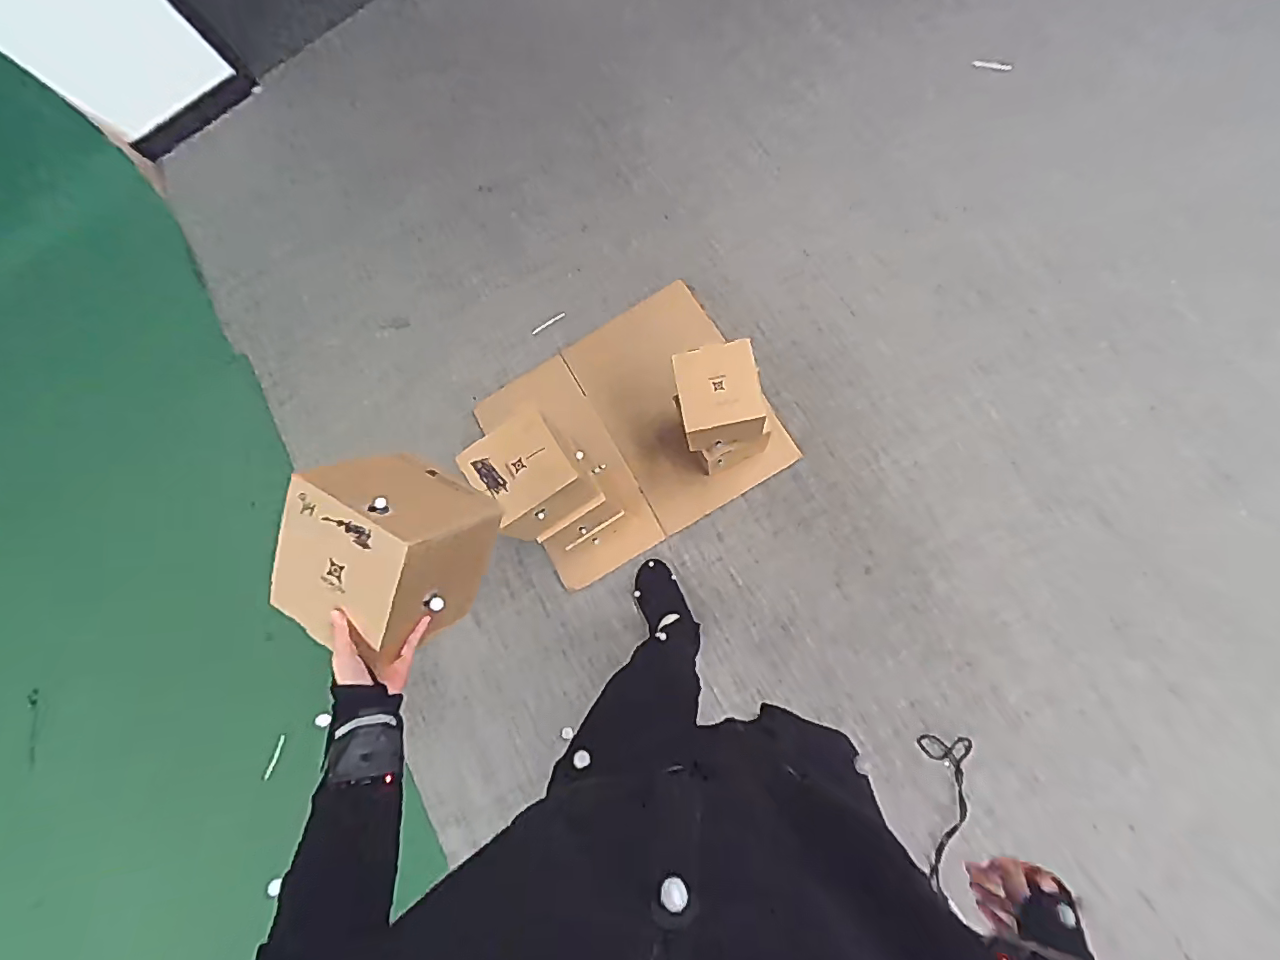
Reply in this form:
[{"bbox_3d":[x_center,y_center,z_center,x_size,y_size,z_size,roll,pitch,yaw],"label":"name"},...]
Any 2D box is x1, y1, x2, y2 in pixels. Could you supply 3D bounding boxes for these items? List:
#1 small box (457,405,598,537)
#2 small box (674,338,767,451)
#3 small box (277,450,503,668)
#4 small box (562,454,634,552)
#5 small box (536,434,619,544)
[{"bbox_3d":[-0.203,-0.007,1.023,0.179,0.176,0.168,-33,75,1],"label":"small box"},{"bbox_3d":[0.169,-0.176,1.161,0.168,0.176,0.179,-11,77,6],"label":"small box"},{"bbox_3d":[-0.293,0.081,0.655,0.168,0.176,0.179,28,109,14],"label":"small box"},{"bbox_3d":[-0.131,0.065,1.336,0.168,0.176,0.179,-33,75,2],"label":"small box"},{"bbox_3d":[-0.163,0.029,1.179,0.168,0.176,0.179,-32,75,1],"label":"small box"}]
